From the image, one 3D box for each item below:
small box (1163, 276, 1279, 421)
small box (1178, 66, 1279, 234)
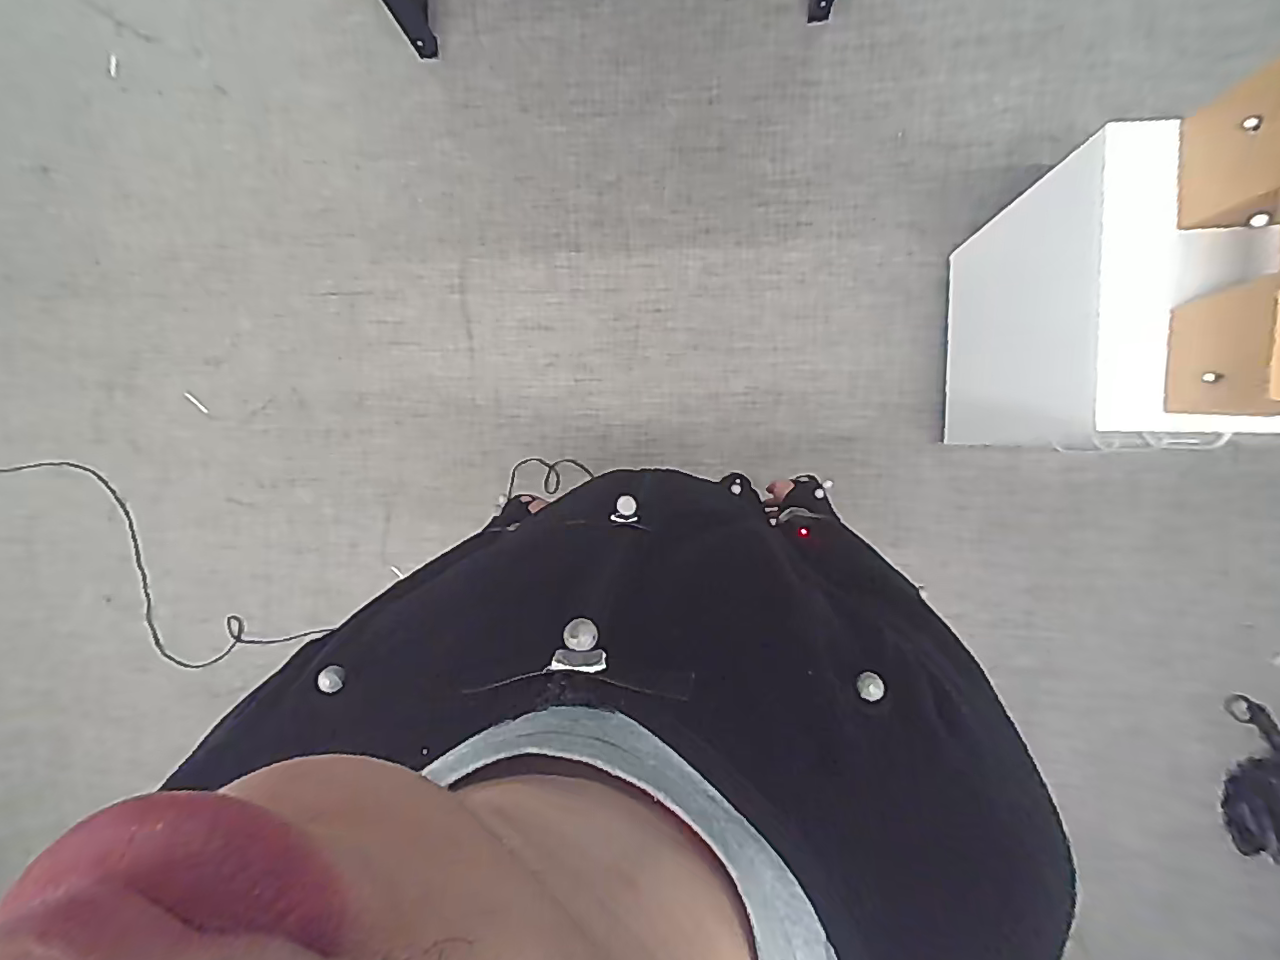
[{"bbox_3d":[0.927,-0.182,0.794,0.168,0.176,0.179,3,90,5],"label":"small box"},{"bbox_3d":[0.940,-0.480,0.782,0.168,0.176,0.179,0,93,6],"label":"small box"}]
